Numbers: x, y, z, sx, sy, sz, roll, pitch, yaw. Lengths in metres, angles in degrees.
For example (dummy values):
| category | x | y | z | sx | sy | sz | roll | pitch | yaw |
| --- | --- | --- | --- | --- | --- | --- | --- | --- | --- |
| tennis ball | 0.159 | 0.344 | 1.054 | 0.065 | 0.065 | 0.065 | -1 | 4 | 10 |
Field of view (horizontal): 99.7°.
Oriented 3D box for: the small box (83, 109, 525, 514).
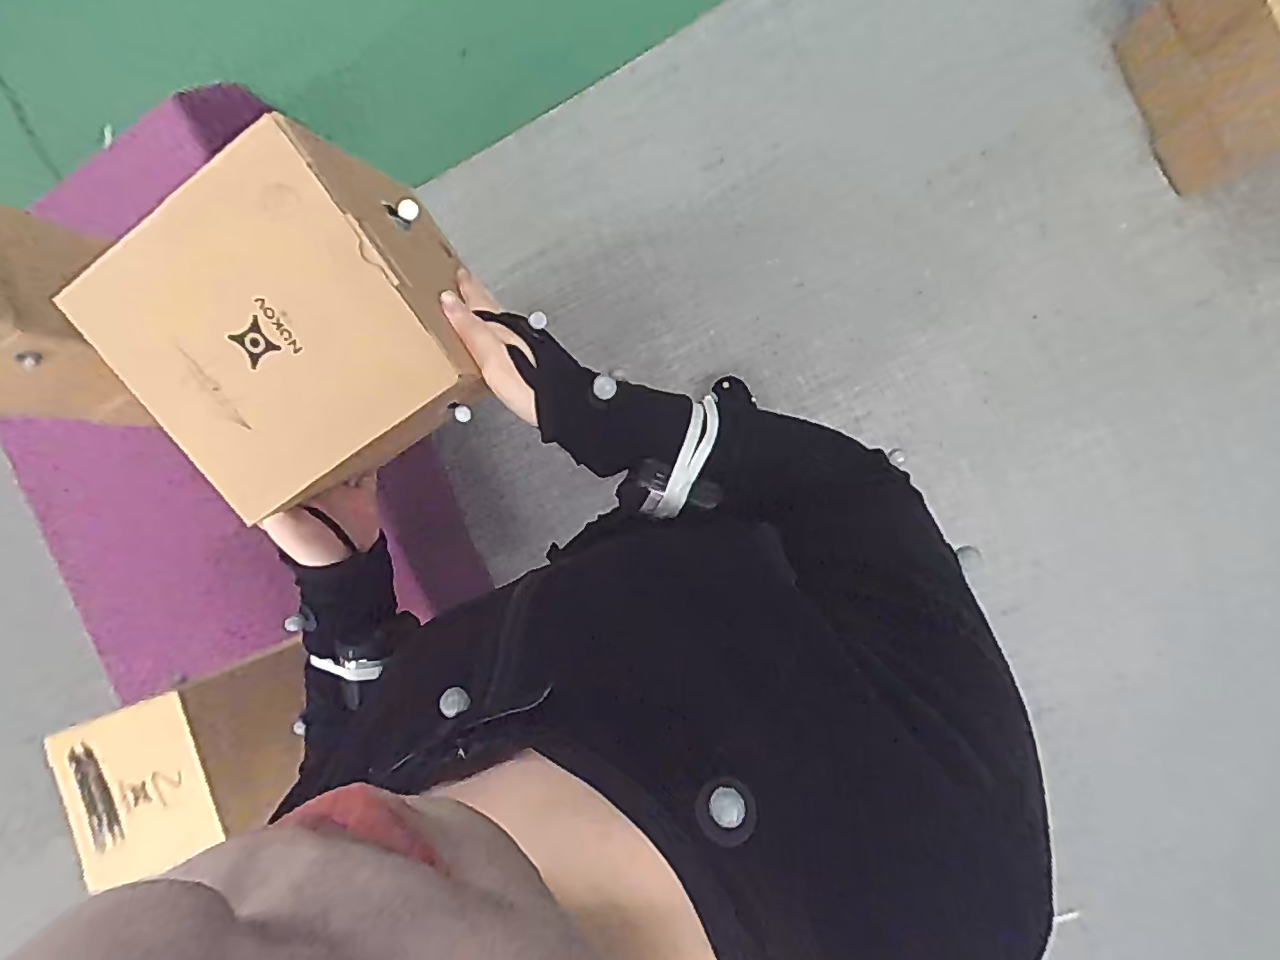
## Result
| category | x | y | z | sx | sy | sz | roll | pitch | yaw |
| --- | --- | --- | --- | --- | --- | --- | --- | --- | --- |
| small box | -0.201 | -0.108 | 0.387 | 0.179 | 0.176 | 0.168 | -30 | 102 | 10 |

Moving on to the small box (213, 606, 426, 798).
| category | x | y | z | sx | sy | sz | roll | pitch | yaw |
| --- | --- | --- | --- | --- | --- | --- | --- | --- | --- |
| small box | -0.442 | 0.304 | 0.774 | 0.168 | 0.176 | 0.179 | -24 | 87 | 9 |

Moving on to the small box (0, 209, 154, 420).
| category | x | y | z | sx | sy | sz | roll | pitch | yaw |
| --- | --- | --- | --- | --- | --- | --- | --- | --- | --- |
| small box | -0.719 | -0.181 | 0.635 | 0.179 | 0.176 | 0.168 | -27 | 88 | 8 |

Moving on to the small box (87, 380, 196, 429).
| category | x | y | z | sx | sy | sz | roll | pitch | yaw |
| --- | --- | --- | --- | --- | --- | --- | --- | --- | --- |
| small box | -0.684 | -0.186 | 0.794 | 0.179 | 0.176 | 0.168 | -27 | 87 | 9 |
